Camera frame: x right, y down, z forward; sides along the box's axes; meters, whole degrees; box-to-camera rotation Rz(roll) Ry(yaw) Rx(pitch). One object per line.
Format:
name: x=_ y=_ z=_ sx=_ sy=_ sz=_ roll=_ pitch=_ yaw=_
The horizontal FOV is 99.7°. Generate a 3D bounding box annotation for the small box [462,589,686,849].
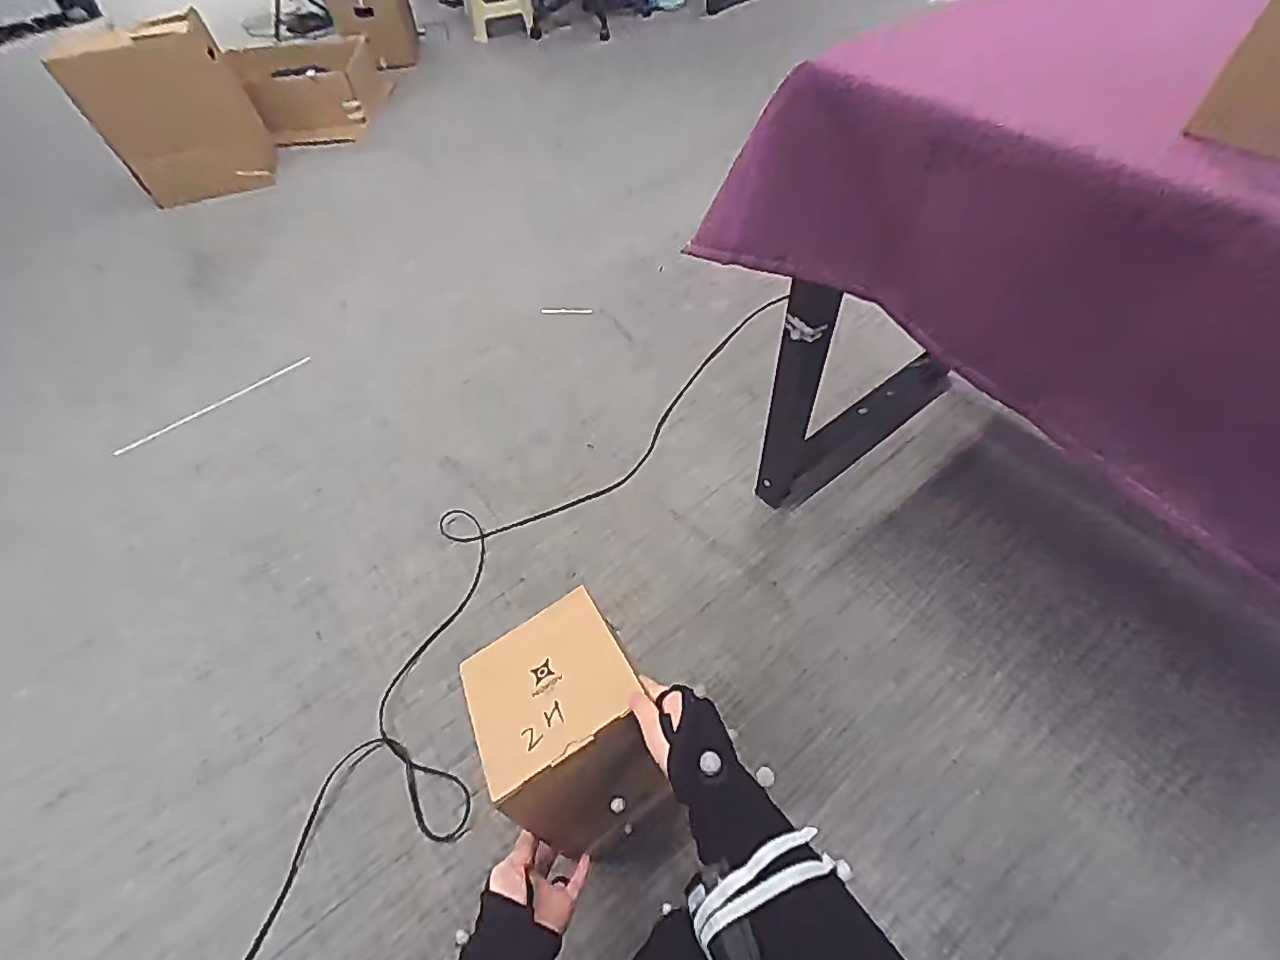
small box: x=-0.073 y=0.266 z=0.609 sx=0.168 sy=0.176 sz=0.179 roll=-32 pitch=39 yaw=-9

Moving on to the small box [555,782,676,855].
small box: x=-0.056 y=0.401 z=0.771 sx=0.179 sy=0.176 sz=0.168 roll=-30 pitch=59 yaw=-17
